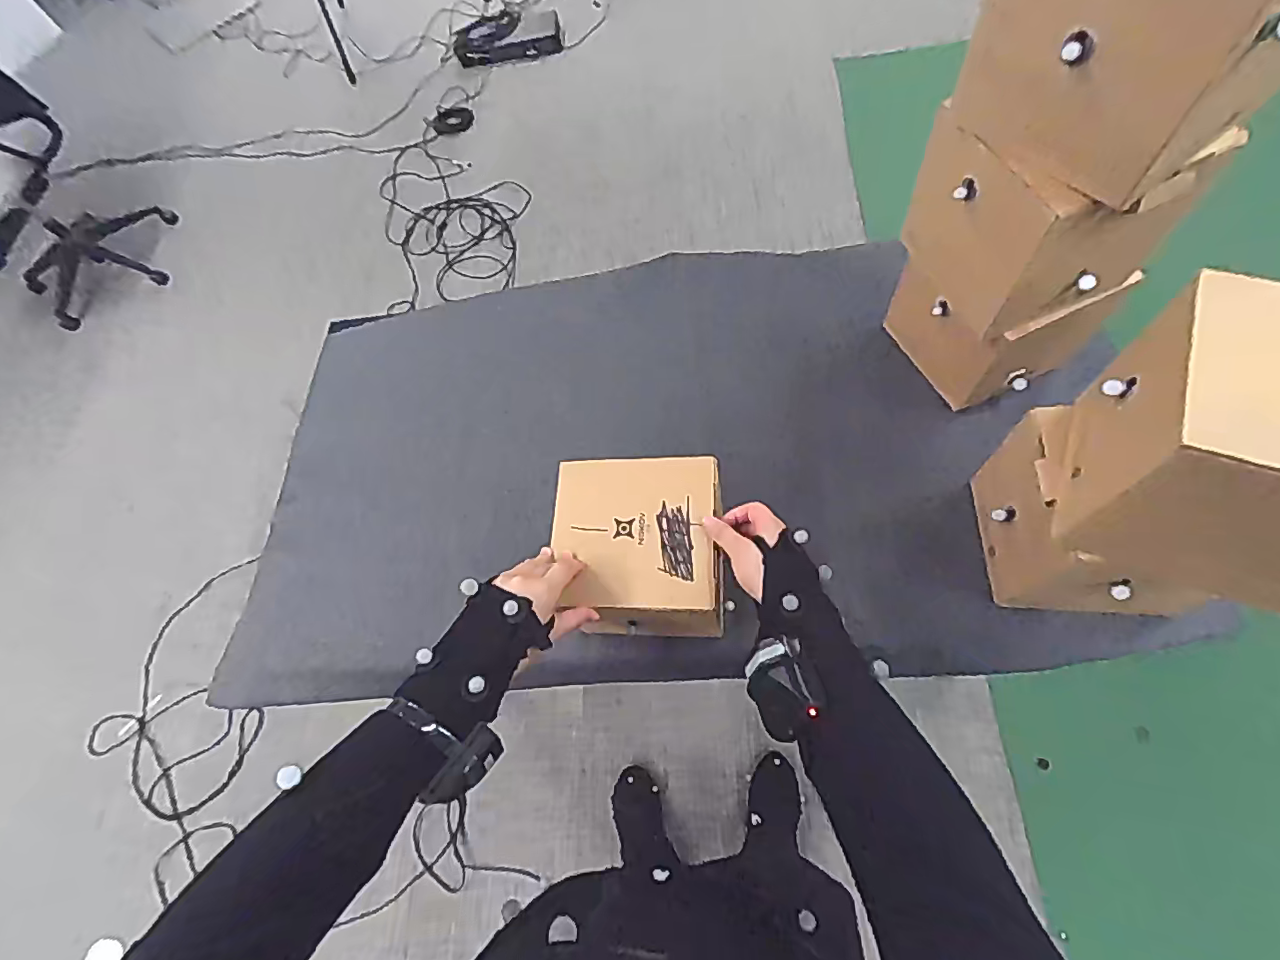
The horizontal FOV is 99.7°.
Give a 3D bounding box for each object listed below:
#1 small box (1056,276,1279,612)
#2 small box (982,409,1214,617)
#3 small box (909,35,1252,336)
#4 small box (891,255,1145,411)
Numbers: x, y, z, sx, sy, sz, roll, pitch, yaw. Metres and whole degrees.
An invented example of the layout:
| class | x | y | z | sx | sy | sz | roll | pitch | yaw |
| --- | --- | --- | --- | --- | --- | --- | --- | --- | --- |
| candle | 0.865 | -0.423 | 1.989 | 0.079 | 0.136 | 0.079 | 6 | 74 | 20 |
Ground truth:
| class | x | y | z | sx | sy | sz | roll | pitch | yaw |
| --- | --- | --- | --- | --- | --- | --- | --- | --- | --- |
| small box | 0.462 | -0.018 | 0.411 | 0.179 | 0.176 | 0.168 | 21 | 68 | 18 |
| small box | 0.485 | 0.040 | 0.563 | 0.179 | 0.176 | 0.168 | 0 | 63 | 11 |
| small box | 0.402 | -0.282 | 0.542 | 0.168 | 0.176 | 0.179 | -23 | 65 | 3 |
| small box | 0.452 | -0.220 | 0.688 | 0.168 | 0.176 | 0.179 | -26 | 66 | 1 |
